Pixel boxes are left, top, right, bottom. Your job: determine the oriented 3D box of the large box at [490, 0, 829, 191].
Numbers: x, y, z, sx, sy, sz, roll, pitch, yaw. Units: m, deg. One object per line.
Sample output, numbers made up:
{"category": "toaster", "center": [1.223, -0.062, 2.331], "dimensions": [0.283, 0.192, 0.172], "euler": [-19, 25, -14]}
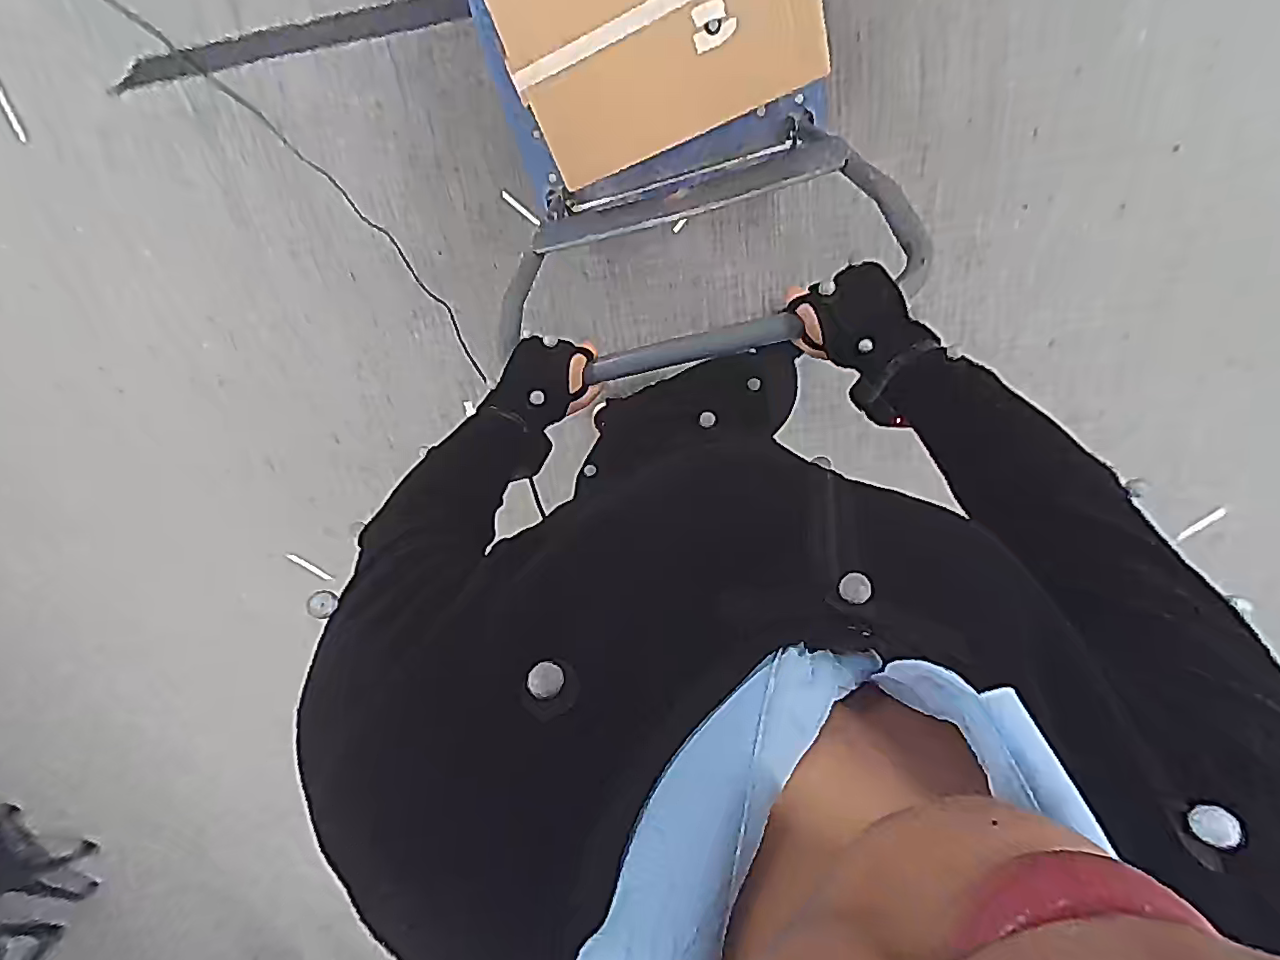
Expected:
{"category": "large box", "center": [0.025, -0.714, 0.836], "dimensions": [0.408, 0.320, 0.320], "euler": [-18, 126, 15]}
